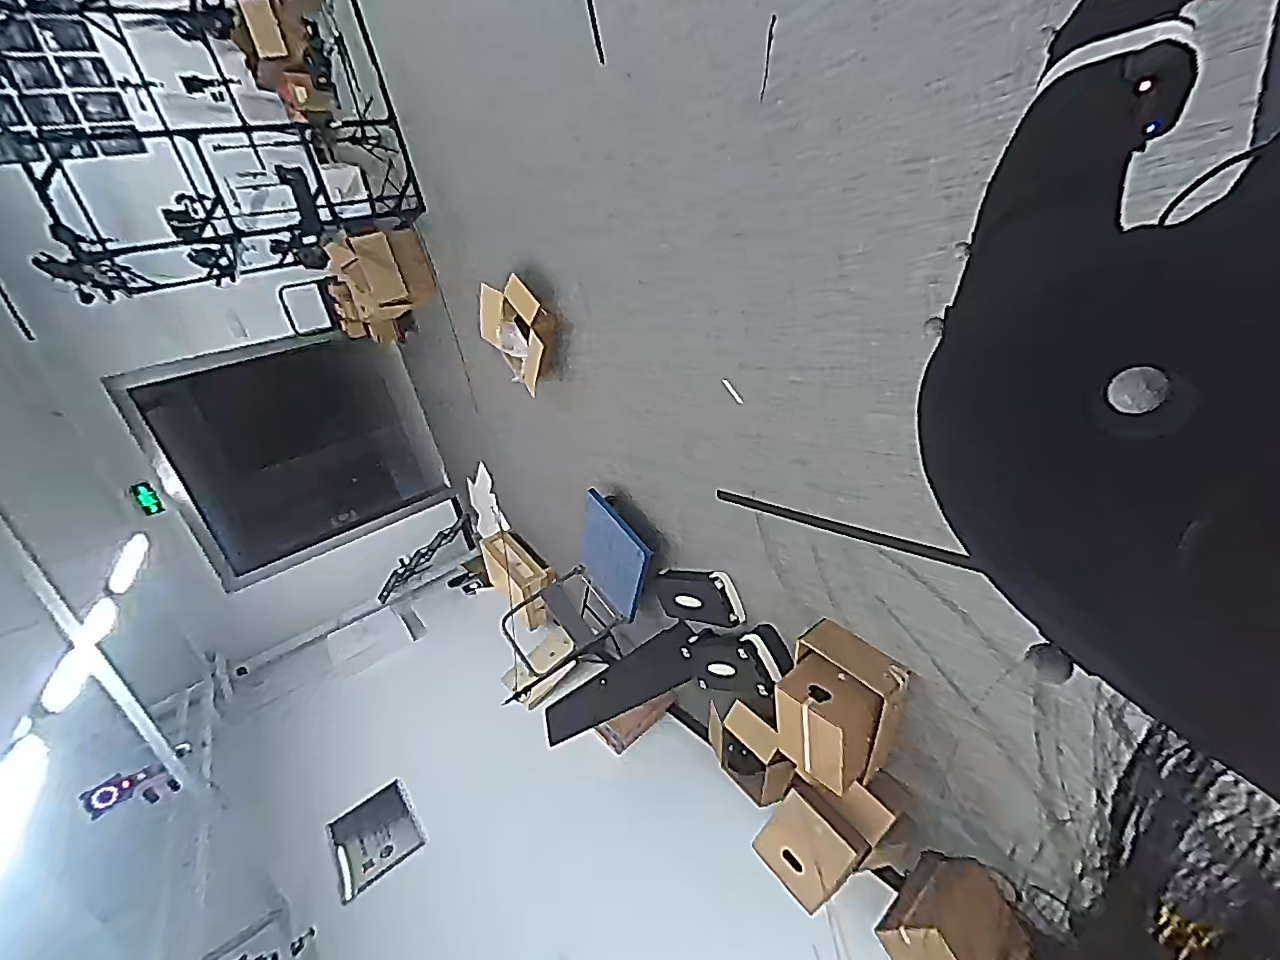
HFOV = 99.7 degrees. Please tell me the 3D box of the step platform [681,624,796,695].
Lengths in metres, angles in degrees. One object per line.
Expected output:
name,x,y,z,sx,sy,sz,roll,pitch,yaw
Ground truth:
step platform,0.492,0.951,2.861,0.286,0.204,0.684,62,149,3
